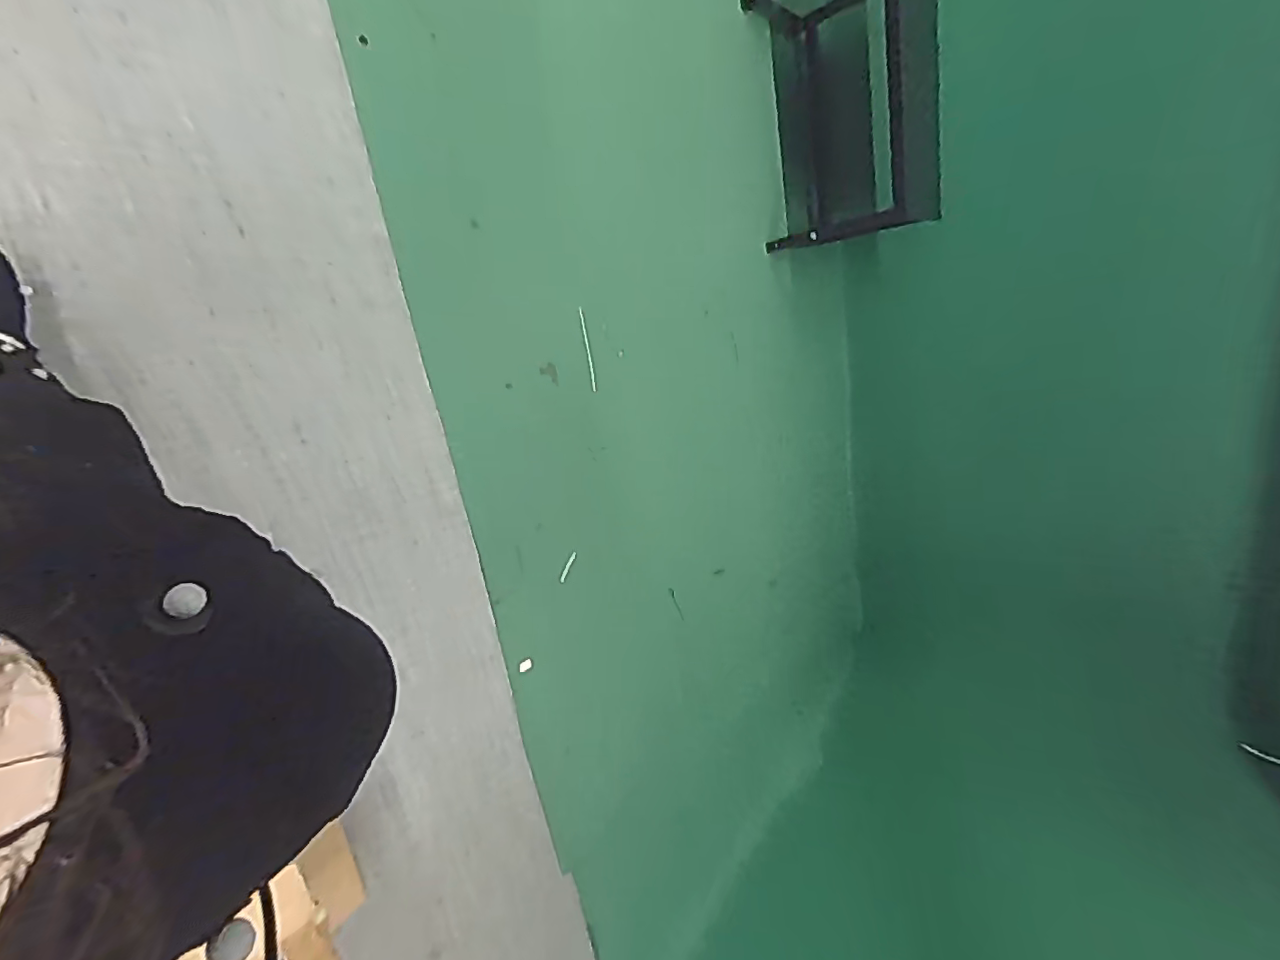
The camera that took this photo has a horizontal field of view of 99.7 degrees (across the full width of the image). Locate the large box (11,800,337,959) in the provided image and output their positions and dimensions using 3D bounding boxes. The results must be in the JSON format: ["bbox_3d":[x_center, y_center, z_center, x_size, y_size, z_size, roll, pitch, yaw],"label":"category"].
[{"bbox_3d":[-0.919,0.969,1.094,0.408,0.320,0.320,-26,112,-44],"label":"large box"}]

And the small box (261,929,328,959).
[{"bbox_3d":[-0.662,1.018,1.023,0.168,0.176,0.179,-29,115,-45],"label":"small box"}]
